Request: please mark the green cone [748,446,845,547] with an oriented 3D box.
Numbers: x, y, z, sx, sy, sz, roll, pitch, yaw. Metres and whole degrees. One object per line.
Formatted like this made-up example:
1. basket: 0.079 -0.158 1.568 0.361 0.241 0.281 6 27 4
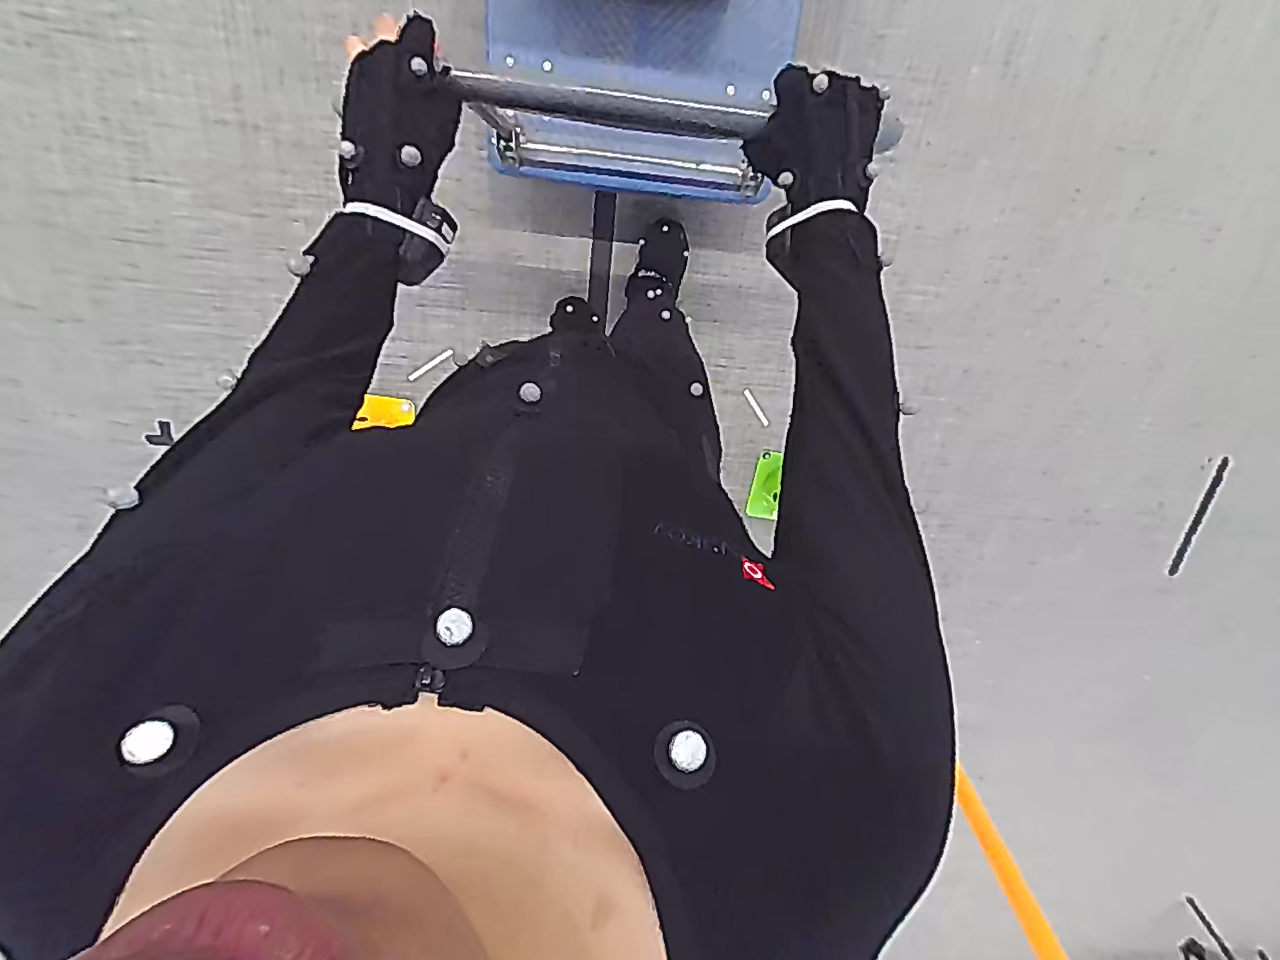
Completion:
1. green cone: 0.428 0.071 1.382 0.202 0.368 0.200 8 111 -6
